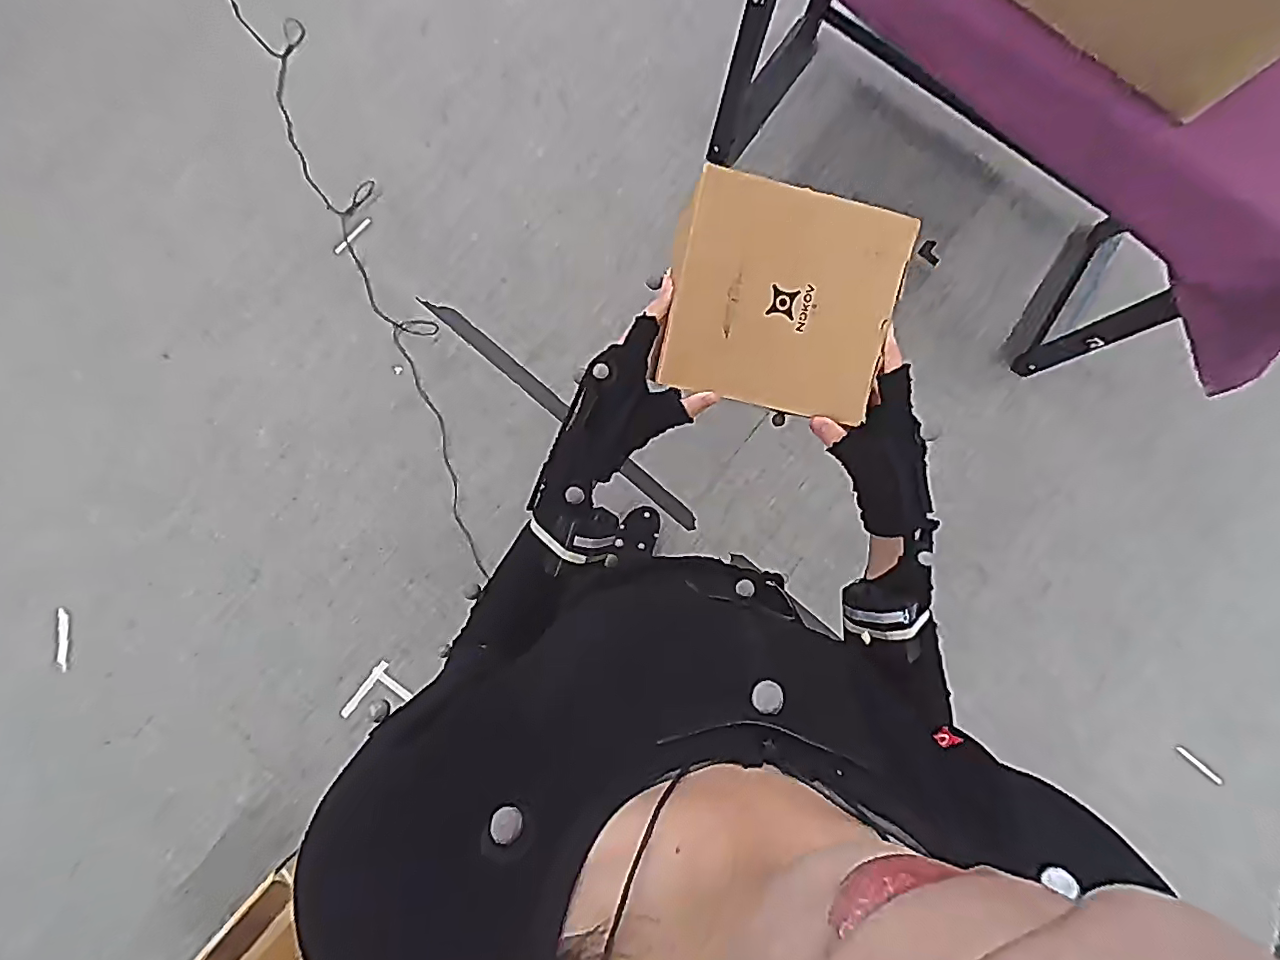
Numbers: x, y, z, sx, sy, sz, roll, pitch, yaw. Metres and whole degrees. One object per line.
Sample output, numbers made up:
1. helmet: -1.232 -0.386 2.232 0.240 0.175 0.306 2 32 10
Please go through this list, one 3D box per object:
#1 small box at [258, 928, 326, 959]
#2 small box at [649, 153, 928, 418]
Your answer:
1. small box: -0.844 1.197 1.237 0.168 0.176 0.179 43 82 -1
2. small box: 0.113 -0.159 0.491 0.179 0.176 0.168 10 100 -6
